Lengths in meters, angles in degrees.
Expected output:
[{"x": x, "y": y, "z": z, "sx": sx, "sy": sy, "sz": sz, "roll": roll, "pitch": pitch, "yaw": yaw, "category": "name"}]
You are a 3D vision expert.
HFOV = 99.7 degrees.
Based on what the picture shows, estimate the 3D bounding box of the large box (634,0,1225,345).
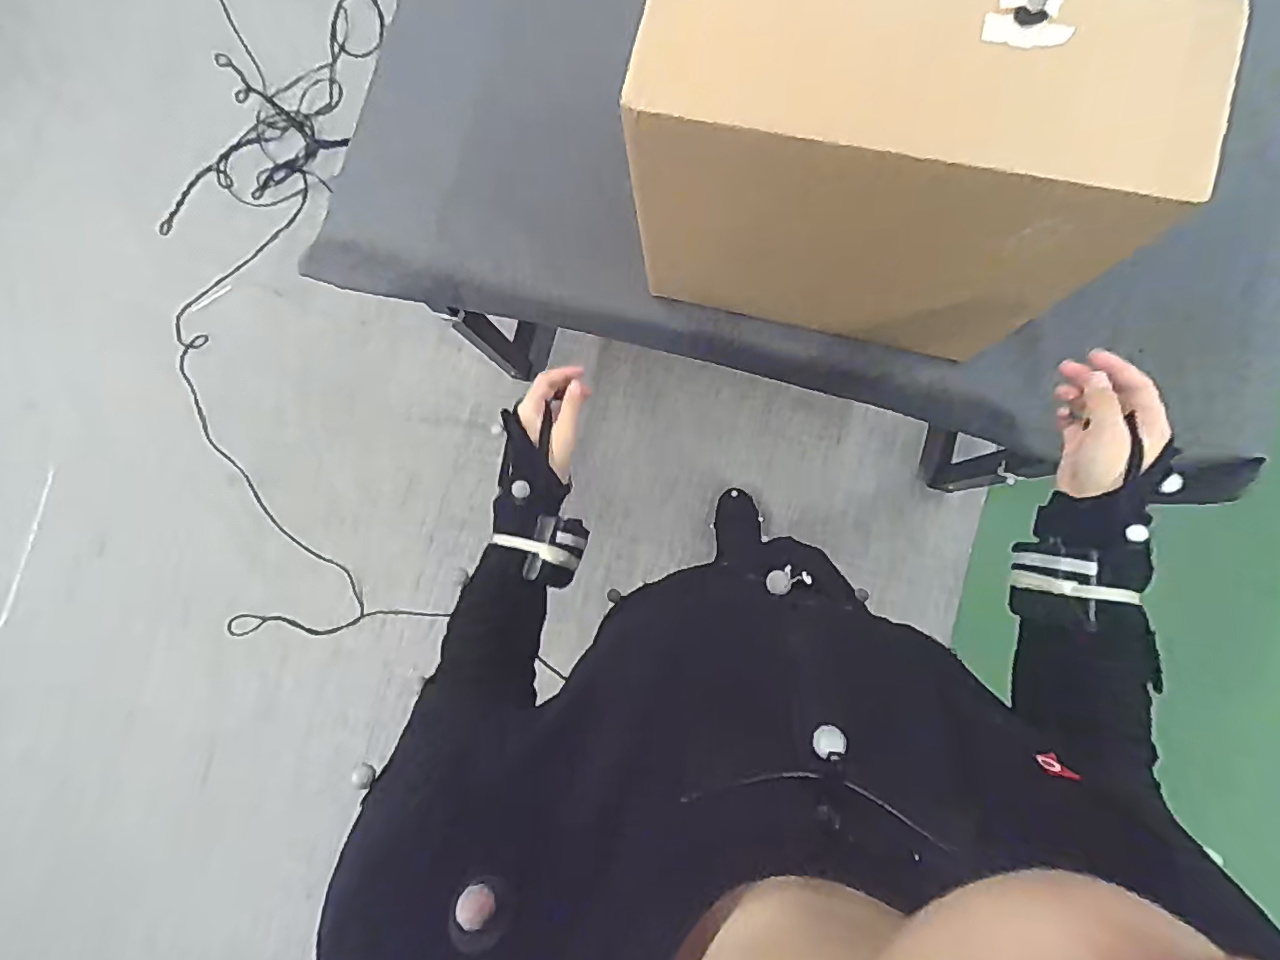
[{"x": 0.229, "y": -0.368, "z": 0.548, "sx": 0.408, "sy": 0.320, "sz": 0.320, "roll": 14, "pitch": 85, "yaw": 6, "category": "large box"}]
